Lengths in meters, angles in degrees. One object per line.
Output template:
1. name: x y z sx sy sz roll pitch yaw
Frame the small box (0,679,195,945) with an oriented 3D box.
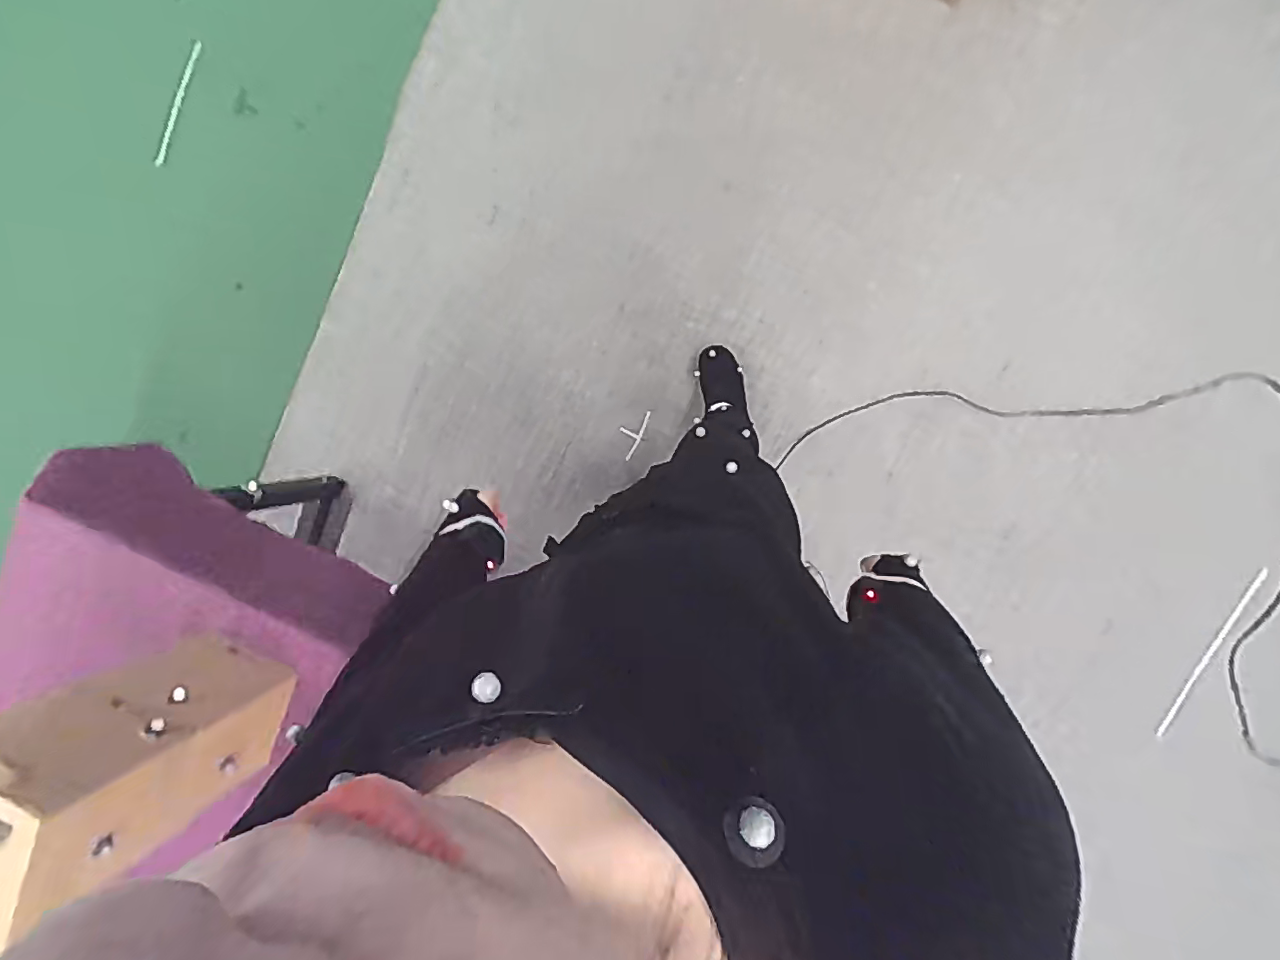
1. small box: -0.683 0.370 0.639 0.168 0.176 0.179 23 98 5

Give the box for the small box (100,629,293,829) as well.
1. small box: -0.660 0.354 0.802 0.168 0.176 0.179 23 99 4
